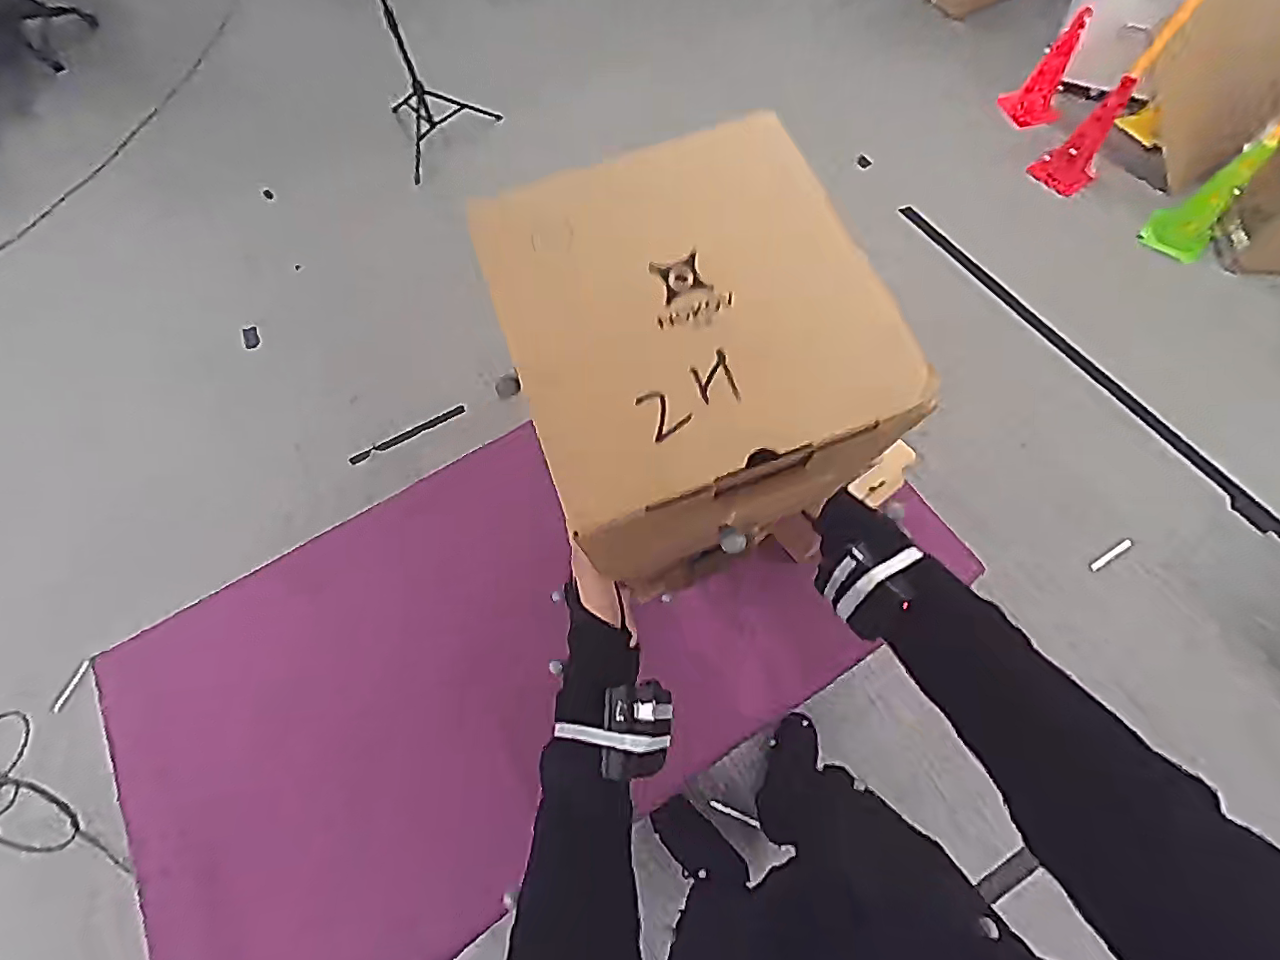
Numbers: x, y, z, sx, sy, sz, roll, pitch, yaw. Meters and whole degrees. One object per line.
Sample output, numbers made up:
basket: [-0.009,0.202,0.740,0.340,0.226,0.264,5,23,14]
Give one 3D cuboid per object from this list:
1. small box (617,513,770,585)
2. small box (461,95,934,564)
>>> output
small box: [0.028,0.014,0.634,0.168,0.176,0.179,-25,75,-5]
small box: [0.019,-0.065,0.315,0.168,0.176,0.179,-19,75,-4]
